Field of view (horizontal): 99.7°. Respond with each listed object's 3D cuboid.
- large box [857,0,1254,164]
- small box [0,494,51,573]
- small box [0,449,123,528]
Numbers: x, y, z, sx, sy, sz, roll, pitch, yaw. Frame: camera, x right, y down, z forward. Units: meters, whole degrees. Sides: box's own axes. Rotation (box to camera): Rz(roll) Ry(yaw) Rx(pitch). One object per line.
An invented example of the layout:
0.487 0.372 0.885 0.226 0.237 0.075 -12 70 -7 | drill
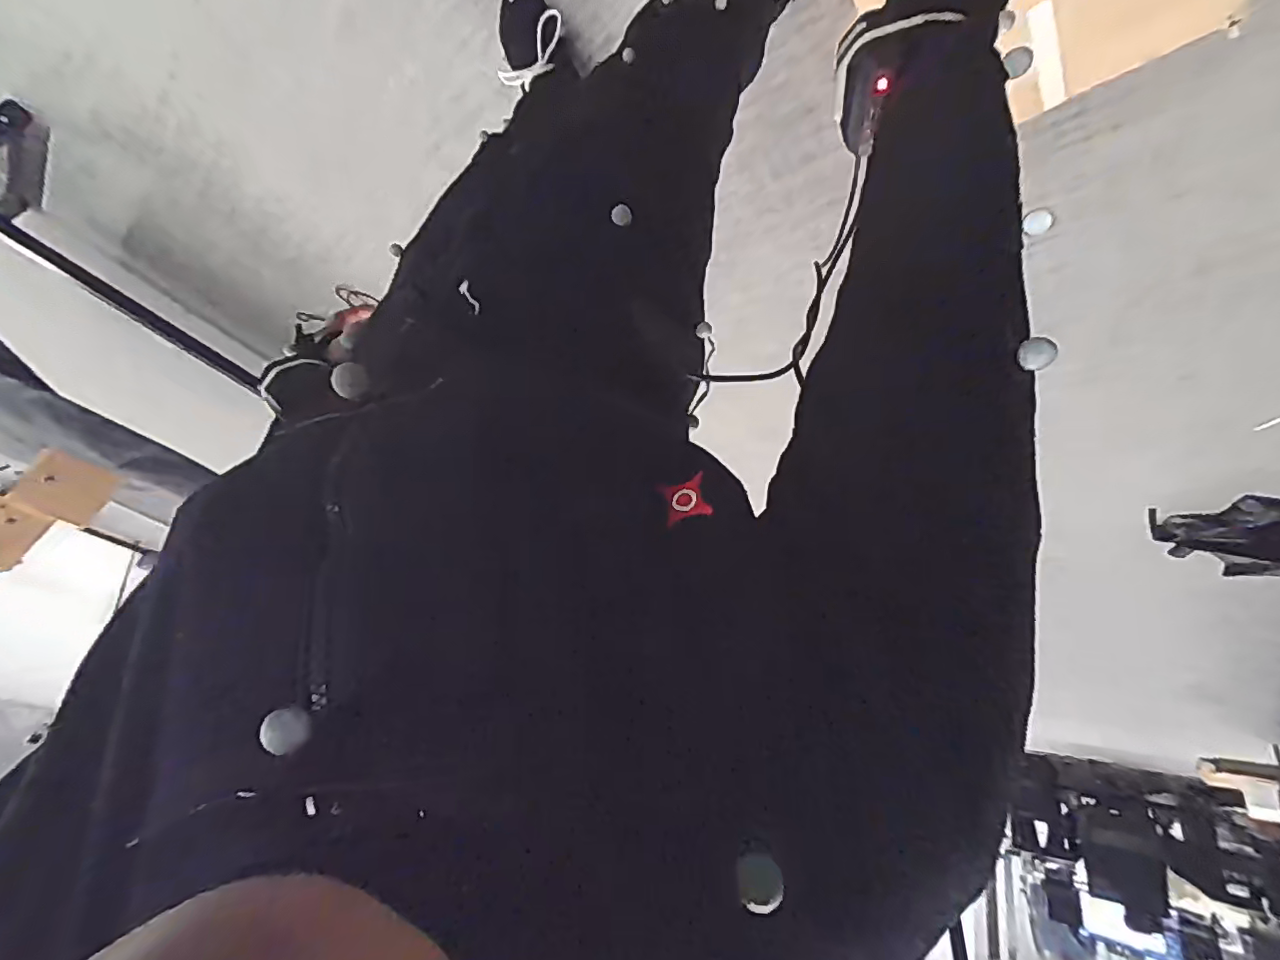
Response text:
0.403 -0.669 0.579 0.320 0.320 0.408 -9 144 40 | large box
-1.736 0.130 1.435 0.179 0.176 0.168 -4 144 35 | small box
-1.641 0.022 1.532 0.168 0.176 0.179 -2 147 35 | small box
